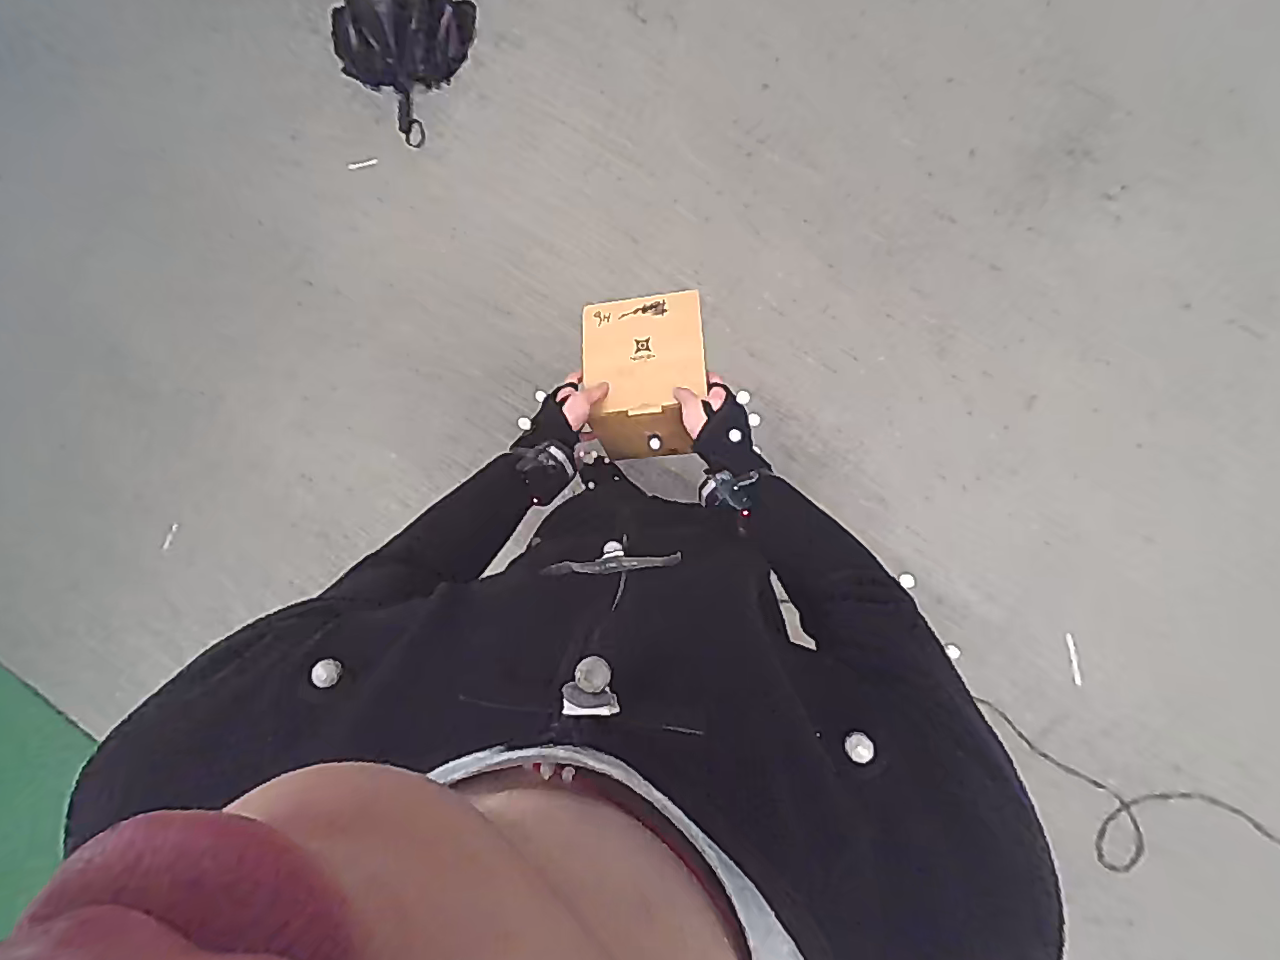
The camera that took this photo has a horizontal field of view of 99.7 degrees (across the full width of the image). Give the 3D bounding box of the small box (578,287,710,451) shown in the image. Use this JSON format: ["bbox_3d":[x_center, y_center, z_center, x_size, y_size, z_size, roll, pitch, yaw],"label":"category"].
[{"bbox_3d":[0.011,-0.150,0.798,0.168,0.176,0.179,-6,71,8],"label":"small box"}]
